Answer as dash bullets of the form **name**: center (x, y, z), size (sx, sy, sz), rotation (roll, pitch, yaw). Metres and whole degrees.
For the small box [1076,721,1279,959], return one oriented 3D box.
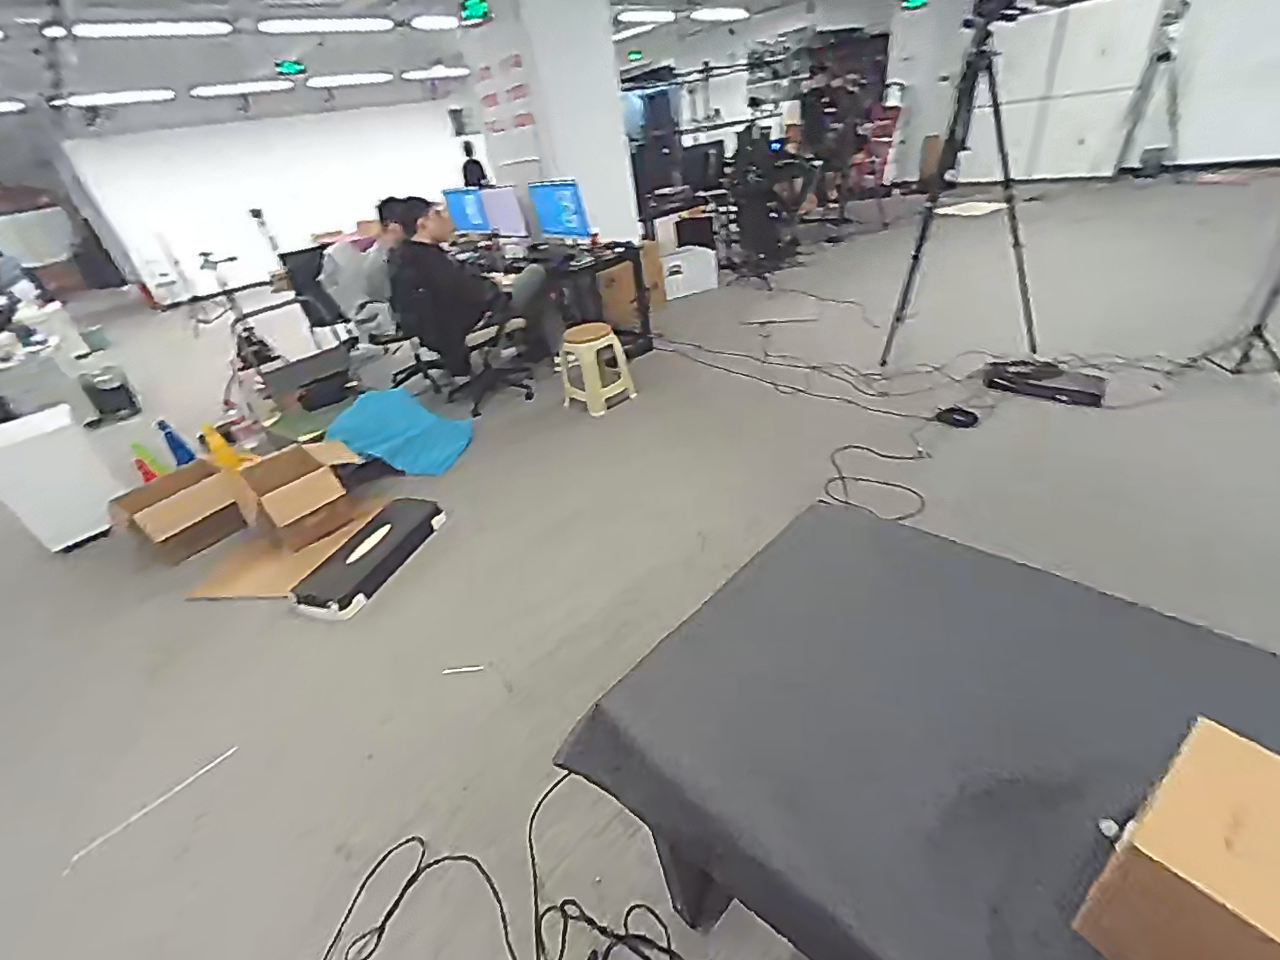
- **small box**: center (0.505, 0.348, 0.435), size (0.168, 0.176, 0.179), rotation (-27, 35, -27)
